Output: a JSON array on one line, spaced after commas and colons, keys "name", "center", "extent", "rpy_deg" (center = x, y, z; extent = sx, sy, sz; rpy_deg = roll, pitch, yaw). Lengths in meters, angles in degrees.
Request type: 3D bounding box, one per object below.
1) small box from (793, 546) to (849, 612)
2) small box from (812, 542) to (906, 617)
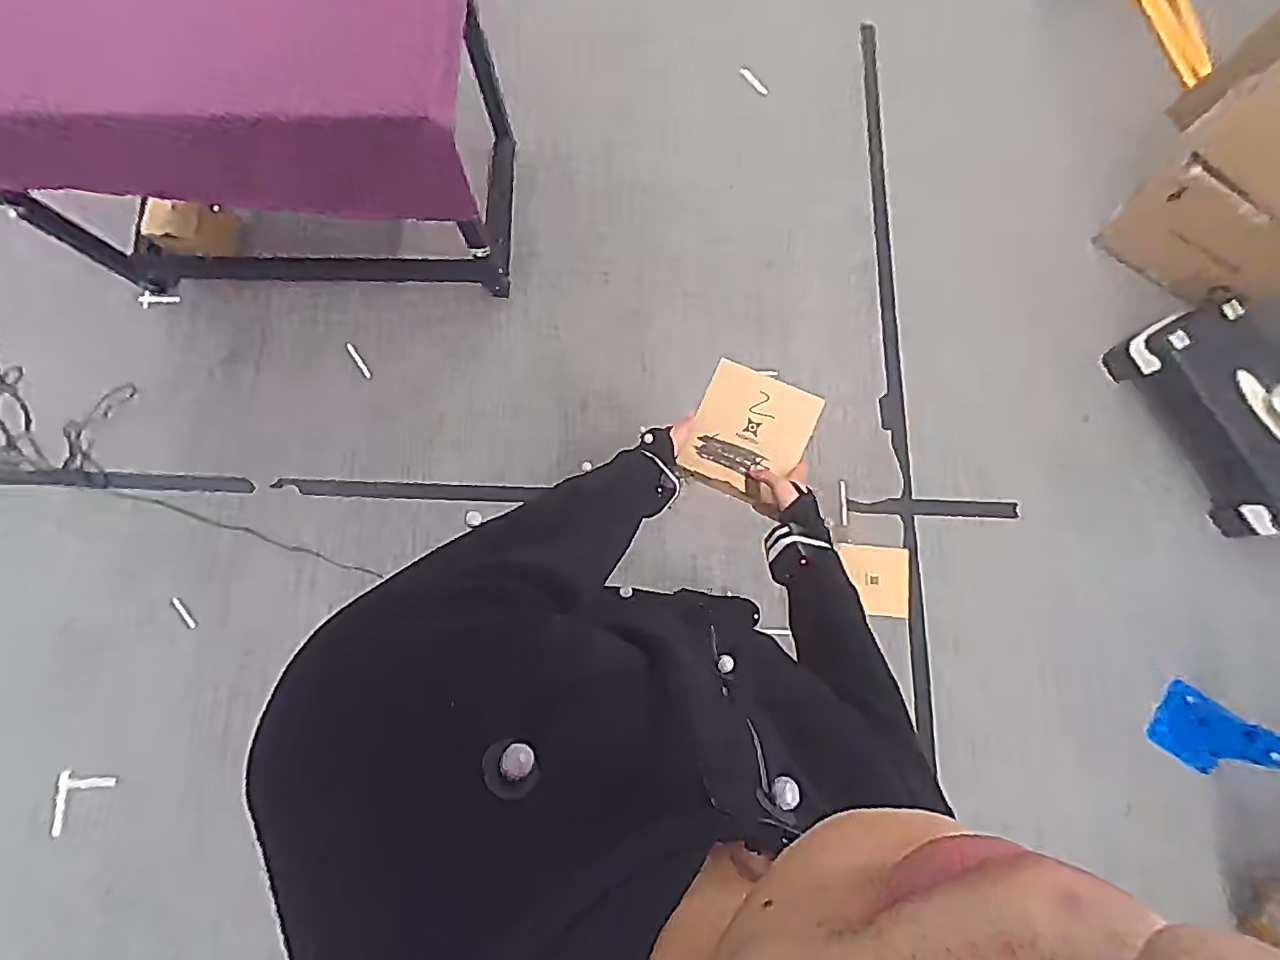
[{"name": "small box", "center": [0.543, 0.280, 1.546], "extent": [0.168, 0.176, 0.179], "rpy_deg": [0, 80, 0]}, {"name": "small box", "center": [0.556, 0.251, 1.386], "extent": [0.179, 0.176, 0.168], "rpy_deg": [5, 81, 2]}]
